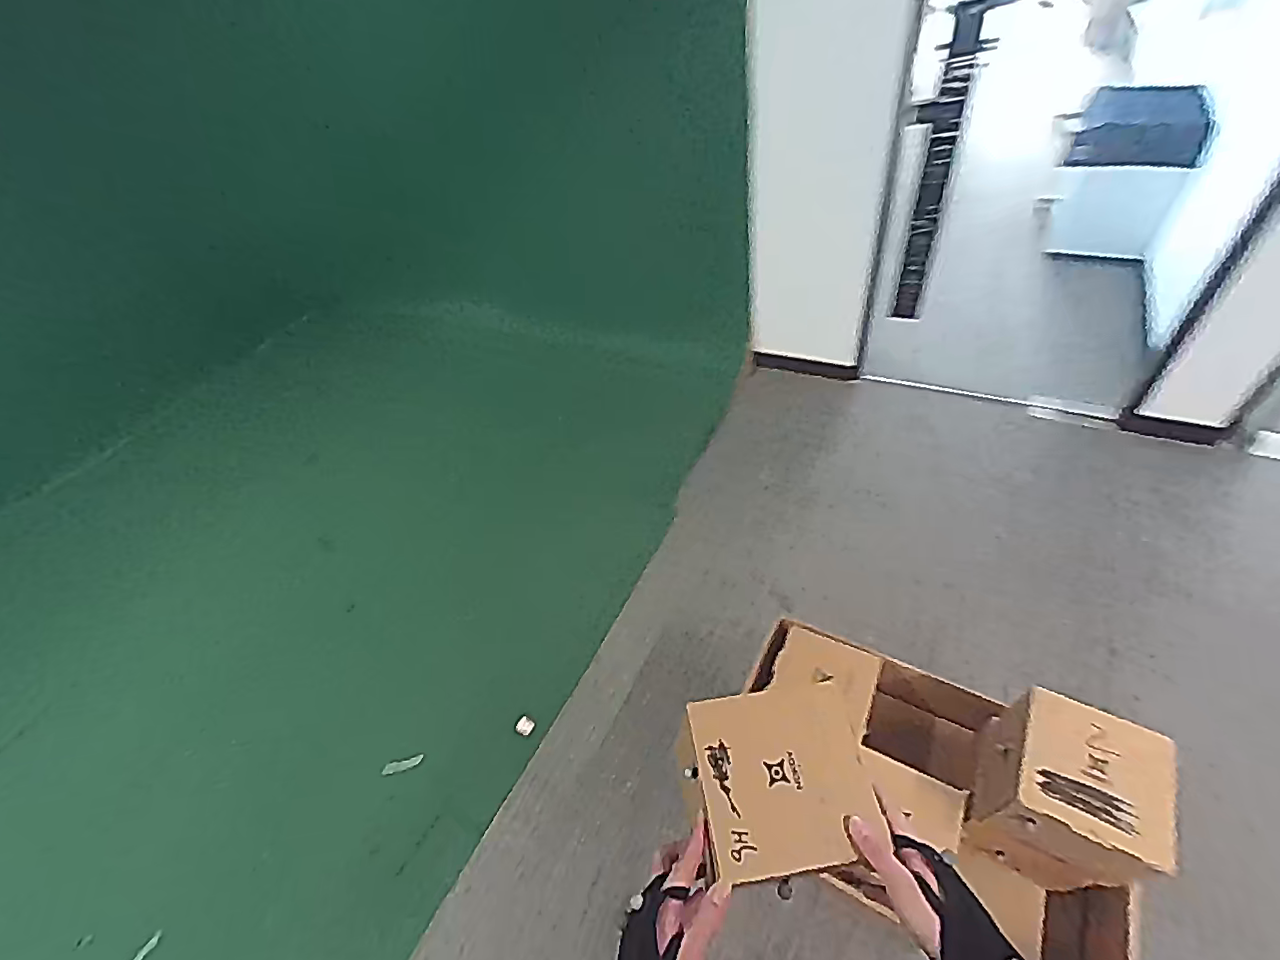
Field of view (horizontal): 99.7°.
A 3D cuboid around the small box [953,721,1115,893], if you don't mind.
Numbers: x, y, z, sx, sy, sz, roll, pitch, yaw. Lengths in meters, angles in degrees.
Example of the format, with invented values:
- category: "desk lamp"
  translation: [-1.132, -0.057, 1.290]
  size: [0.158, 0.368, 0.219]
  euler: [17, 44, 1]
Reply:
- category: "small box"
  translation: [0.647, 0.545, 0.902]
  size: [0.168, 0.176, 0.179]
  euler: [20, 57, 26]

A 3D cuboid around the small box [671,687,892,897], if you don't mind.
- category: "small box"
  translation: [0.140, 0.353, 0.610]
  size: [0.179, 0.176, 0.168]
  euler: [-5, 50, -7]
